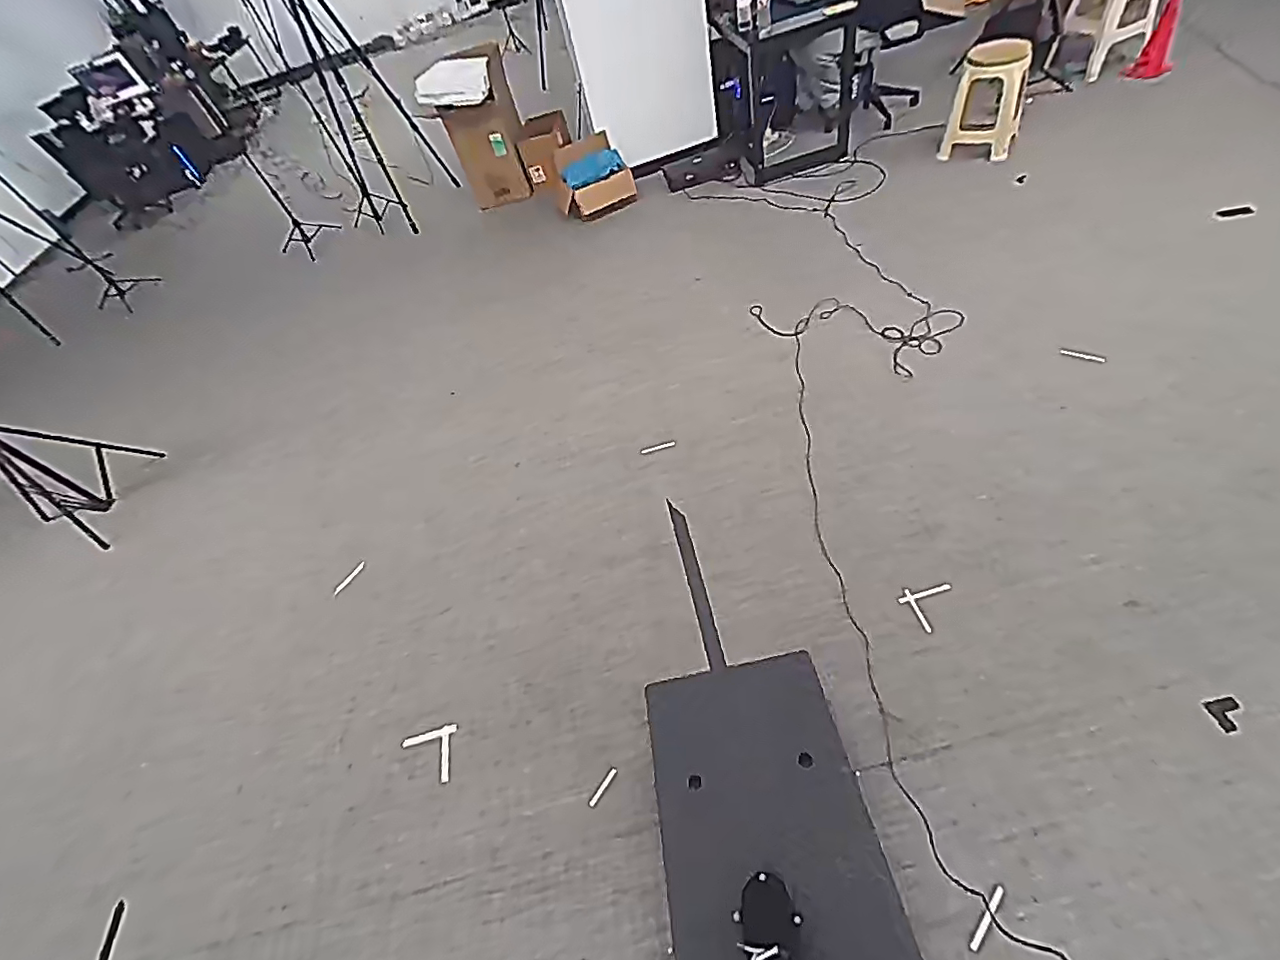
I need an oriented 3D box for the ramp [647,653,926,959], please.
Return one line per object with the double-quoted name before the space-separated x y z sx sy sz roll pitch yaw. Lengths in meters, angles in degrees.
"ramp" 0.299 0.876 1.204 0.509 0.206 0.991 -16 49 4
